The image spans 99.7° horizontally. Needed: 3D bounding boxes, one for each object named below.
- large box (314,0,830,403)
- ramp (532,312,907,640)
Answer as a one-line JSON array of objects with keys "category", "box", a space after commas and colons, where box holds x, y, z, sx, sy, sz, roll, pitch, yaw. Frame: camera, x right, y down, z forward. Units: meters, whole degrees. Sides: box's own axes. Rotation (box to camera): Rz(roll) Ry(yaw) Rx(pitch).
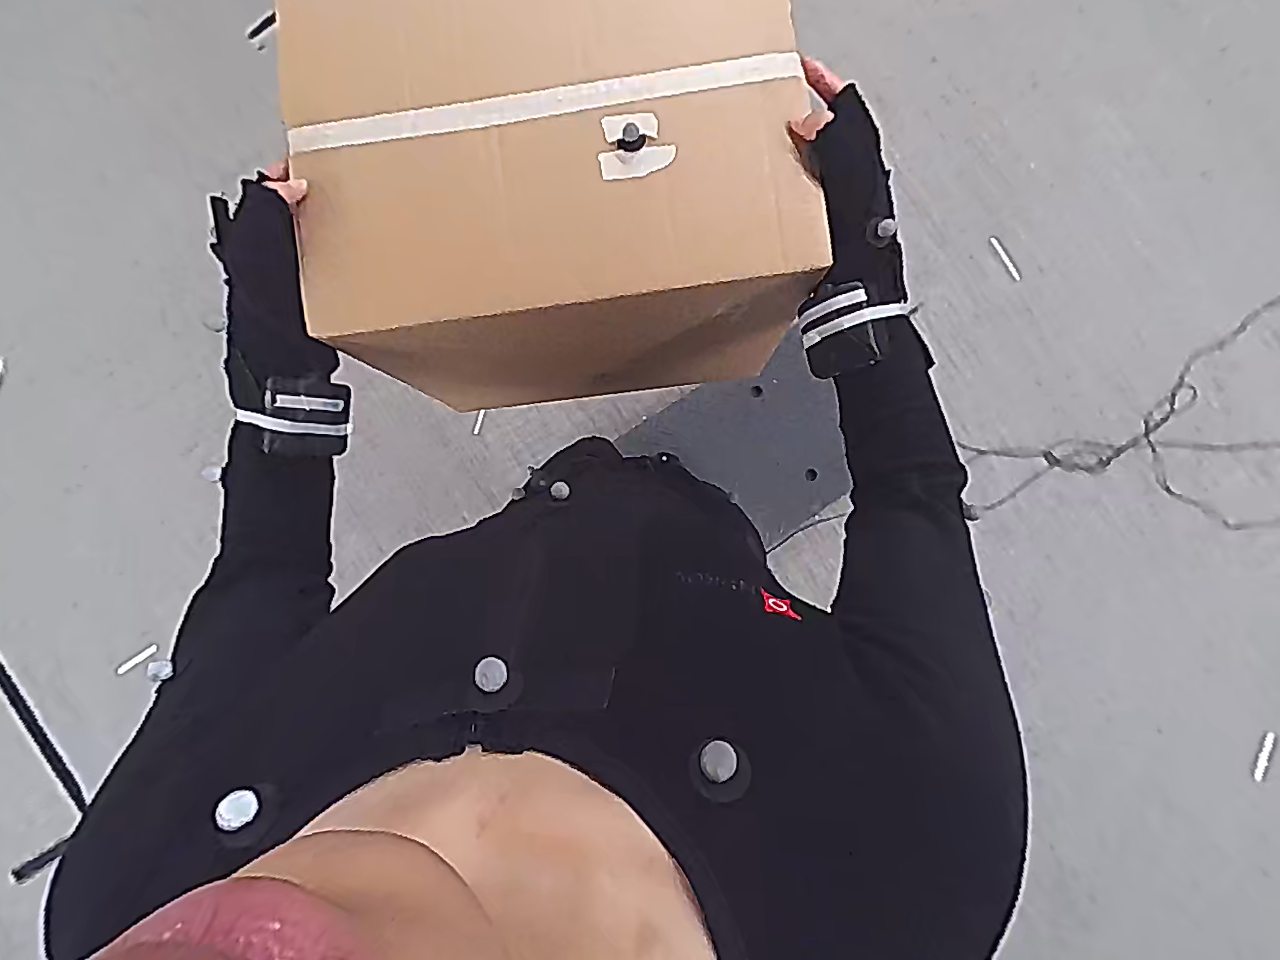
[{"category": "large box", "box": [-0.060, -0.288, 0.586, 0.408, 0.320, 0.320, -6, 86, 2]}, {"category": "ramp", "box": [0.242, -0.033, 1.536, 0.991, 0.206, 0.509, -35, 88, 3]}]
